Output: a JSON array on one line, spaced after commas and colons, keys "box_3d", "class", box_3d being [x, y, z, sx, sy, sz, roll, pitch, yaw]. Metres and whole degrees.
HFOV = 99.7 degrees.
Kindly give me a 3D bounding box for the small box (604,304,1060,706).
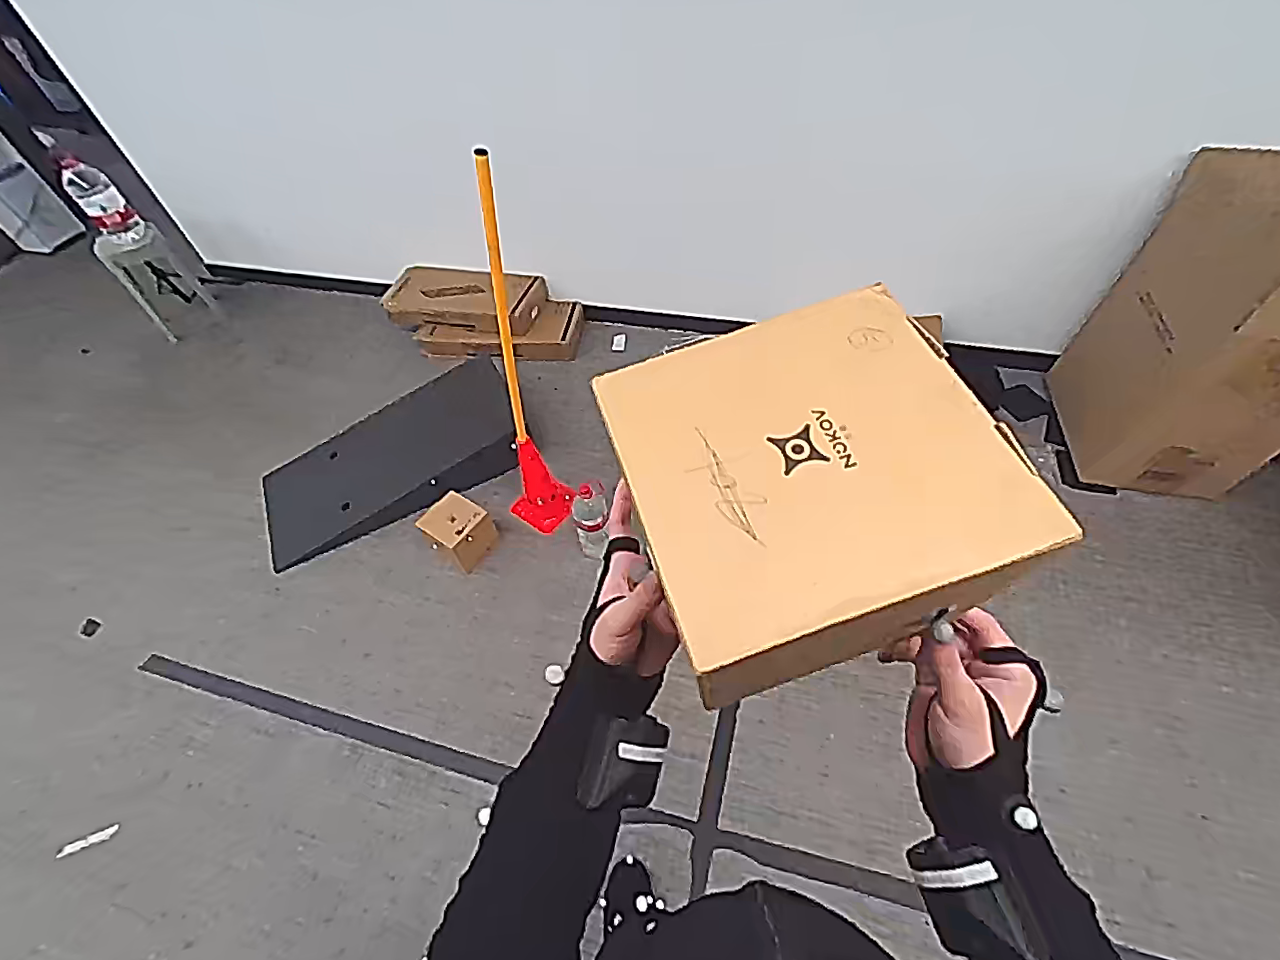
[{"box_3d": [0.093, 0.028, 0.343, 0.179, 0.176, 0.168, -19, 60, -2], "class": "small box"}]
